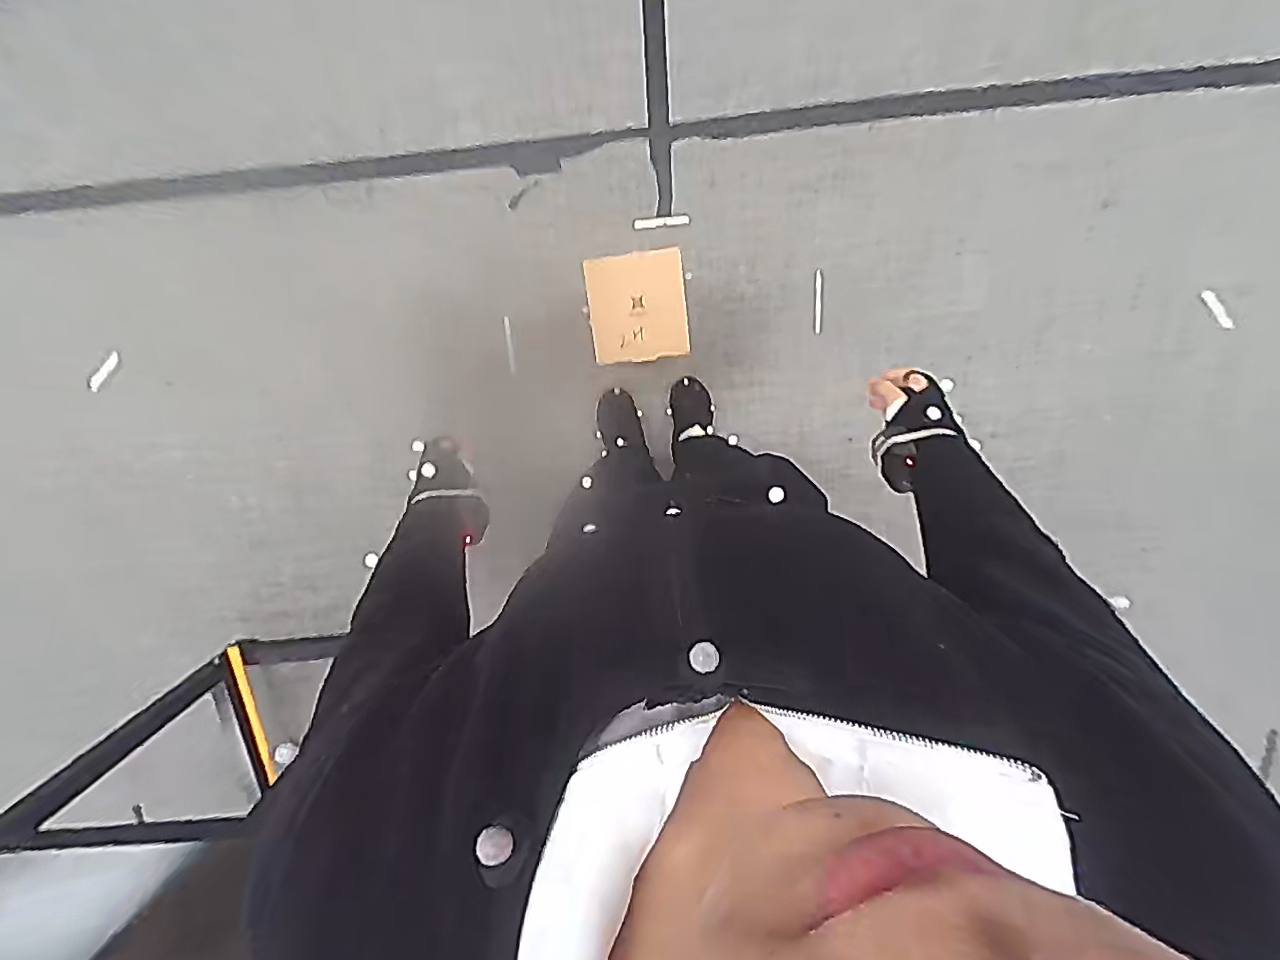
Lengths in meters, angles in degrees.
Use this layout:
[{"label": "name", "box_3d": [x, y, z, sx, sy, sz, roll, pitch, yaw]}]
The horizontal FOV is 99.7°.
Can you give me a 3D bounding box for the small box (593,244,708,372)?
[{"label": "small box", "box_3d": [0.019, -0.283, 0.912, 0.168, 0.176, 0.179, -7, 105, 3]}]
